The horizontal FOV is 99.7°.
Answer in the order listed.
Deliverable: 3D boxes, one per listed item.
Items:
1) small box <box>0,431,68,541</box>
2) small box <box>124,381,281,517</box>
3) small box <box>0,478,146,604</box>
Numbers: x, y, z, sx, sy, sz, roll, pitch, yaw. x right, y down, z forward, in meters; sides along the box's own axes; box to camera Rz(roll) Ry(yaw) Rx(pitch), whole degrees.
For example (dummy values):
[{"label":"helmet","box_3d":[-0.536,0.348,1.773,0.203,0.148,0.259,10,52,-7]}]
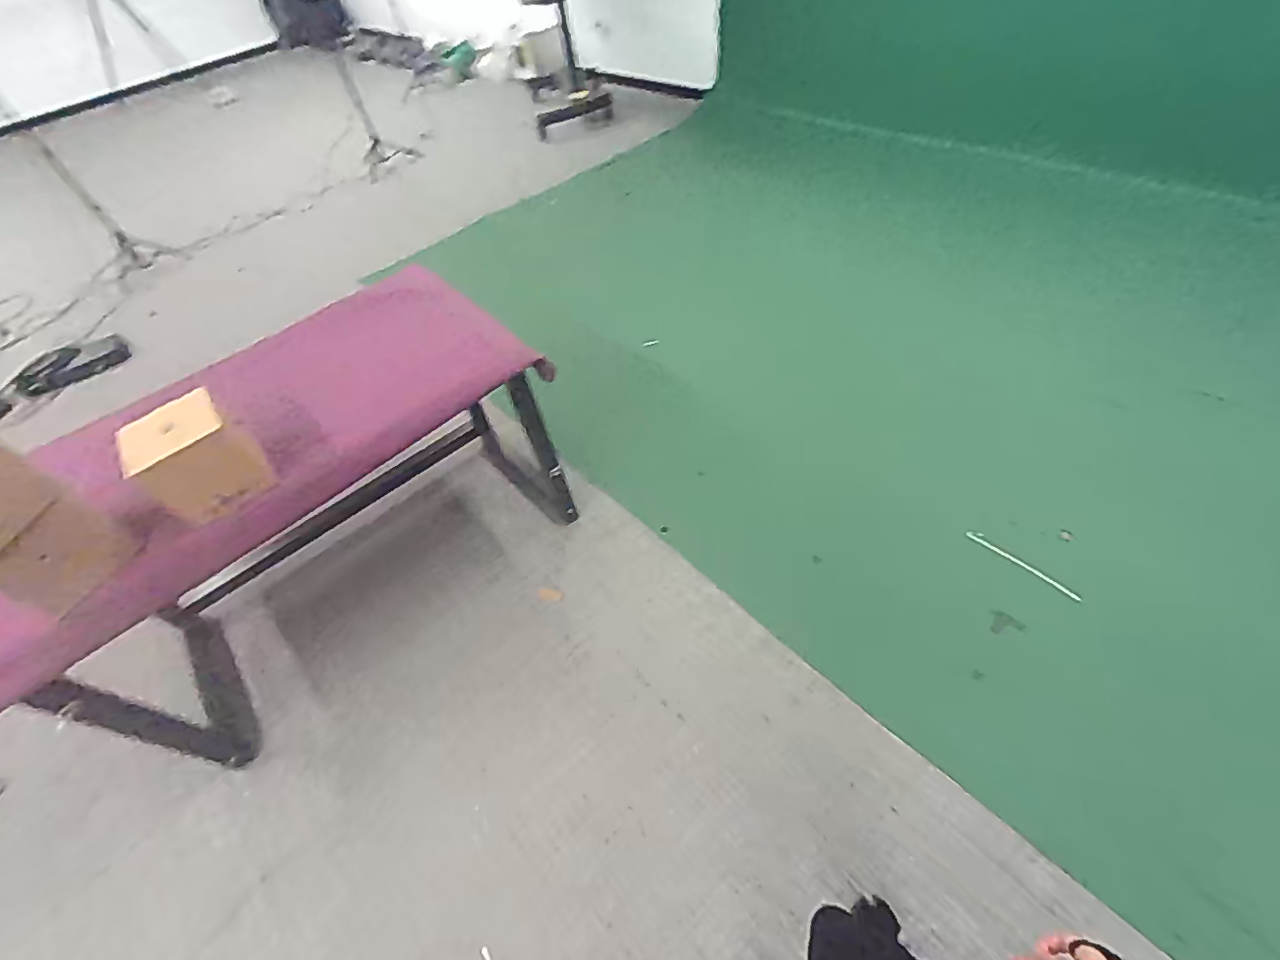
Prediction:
[{"label":"small box","box_3d":[-1.083,0.003,0.840,0.168,0.176,0.179,5,51,13]},{"label":"small box","box_3d":[-0.859,-0.060,1.071,0.168,0.176,0.179,-37,54,-19]},{"label":"small box","box_3d":[-1.072,0.097,0.976,0.168,0.176,0.179,15,55,20]}]
